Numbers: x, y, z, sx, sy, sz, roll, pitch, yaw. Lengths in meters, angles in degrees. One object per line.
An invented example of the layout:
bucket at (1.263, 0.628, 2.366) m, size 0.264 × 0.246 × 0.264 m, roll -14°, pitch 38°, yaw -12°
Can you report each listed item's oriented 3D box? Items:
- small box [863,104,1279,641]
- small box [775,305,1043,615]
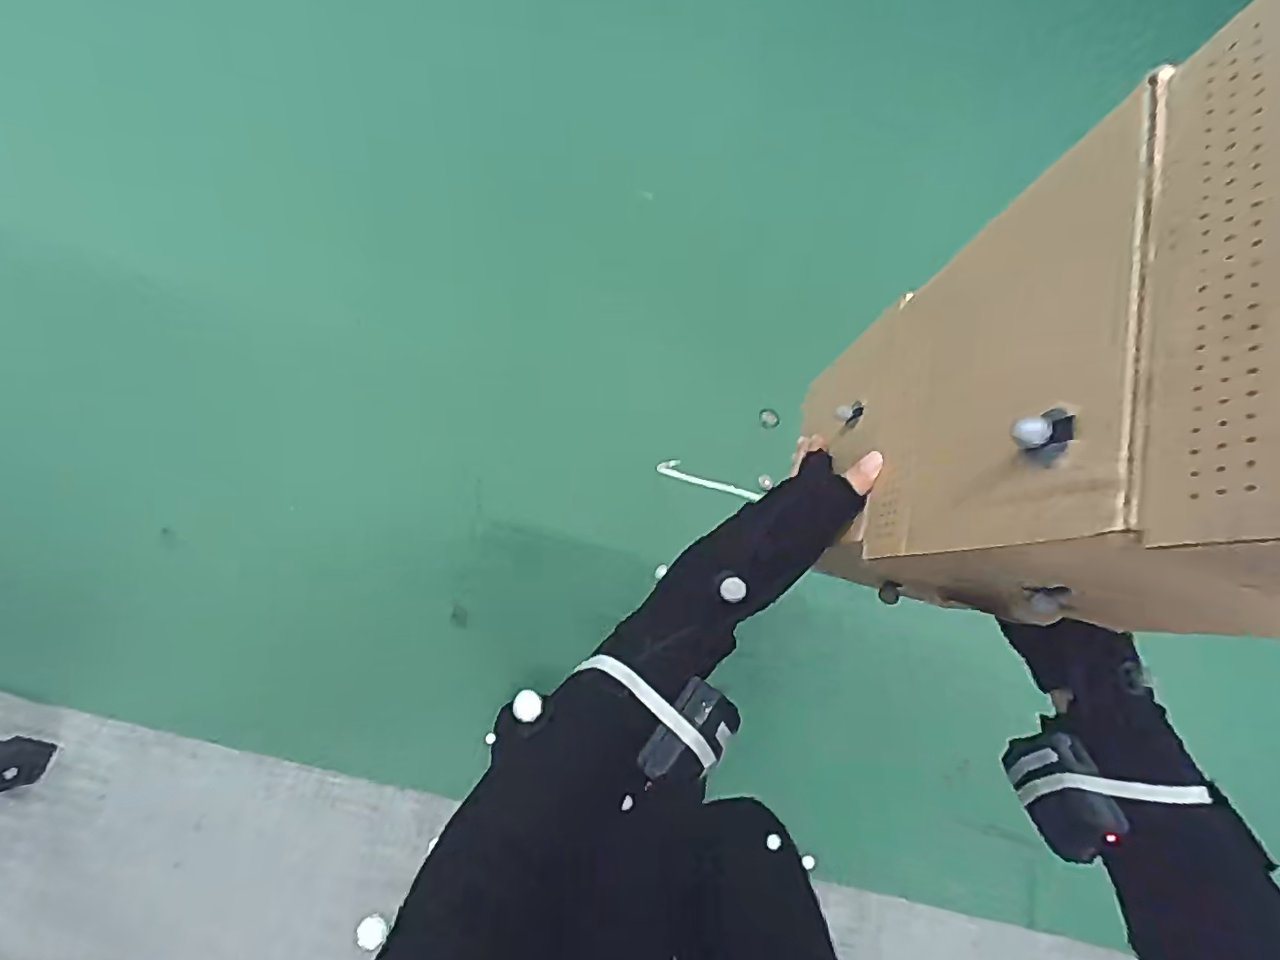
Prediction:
small box at (0.233, -0.026, 0.268) m, size 0.168 × 0.176 × 0.179 m, roll 13°, pitch 79°, yaw -2°
small box at (0.222, -0.002, 0.430) m, size 0.168 × 0.176 × 0.179 m, roll 16°, pitch 78°, yaw -1°
